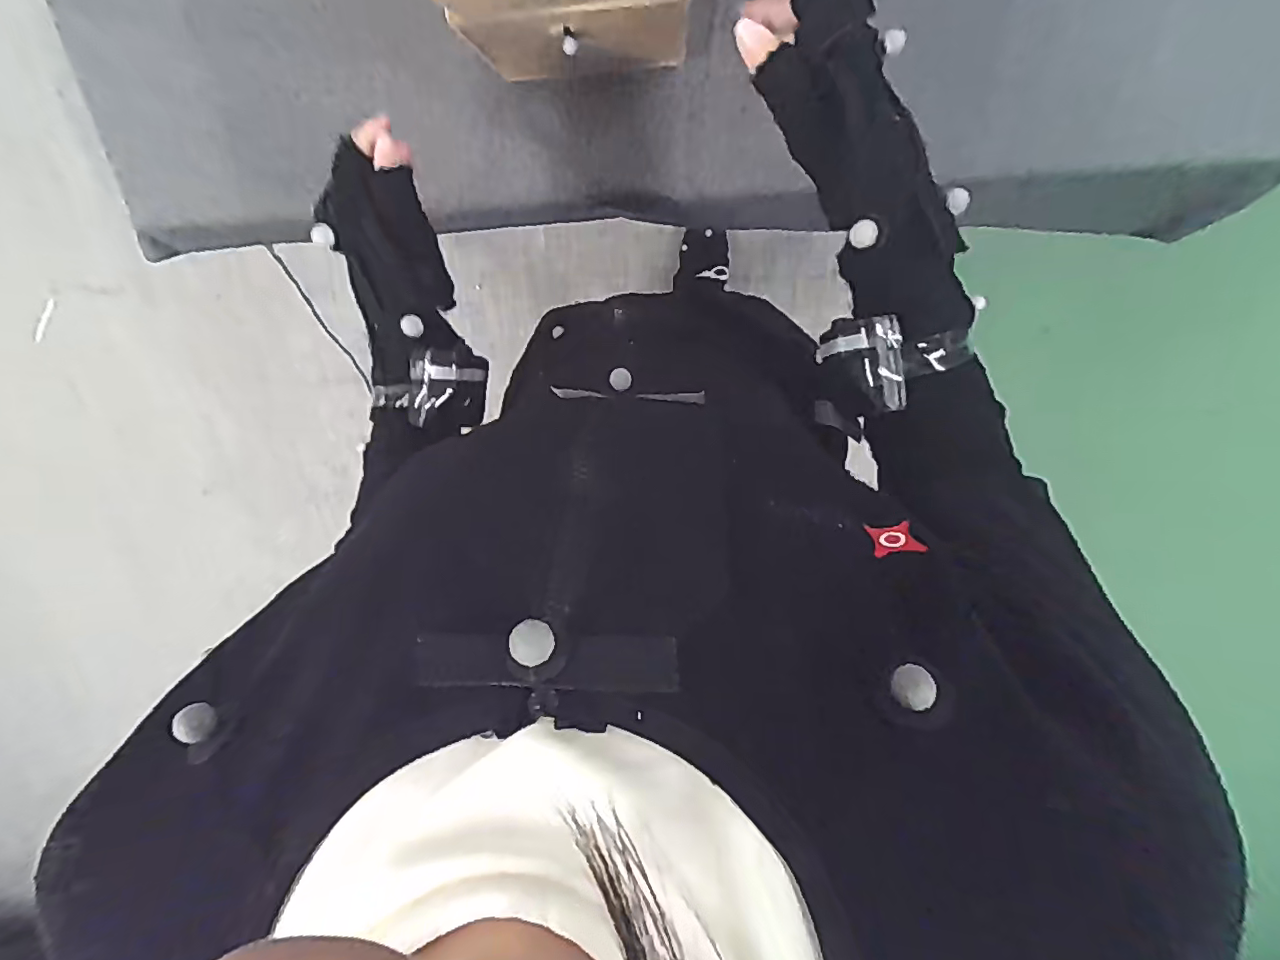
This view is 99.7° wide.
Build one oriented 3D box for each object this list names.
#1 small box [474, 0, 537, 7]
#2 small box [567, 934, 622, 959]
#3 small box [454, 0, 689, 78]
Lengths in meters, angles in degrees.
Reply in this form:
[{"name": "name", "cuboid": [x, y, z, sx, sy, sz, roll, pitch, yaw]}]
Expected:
[{"name": "small box", "cuboid": [-0.059, -0.383, 0.280, 0.168, 0.176, 0.179, -4, 115, 5]}, {"name": "small box", "cuboid": [-0.160, 1.698, 1.854, 0.179, 0.176, 0.168, -3, 113, 4]}, {"name": "small box", "cuboid": [-0.050, -0.446, 0.431, 0.179, 0.176, 0.168, -4, 115, 3]}]
